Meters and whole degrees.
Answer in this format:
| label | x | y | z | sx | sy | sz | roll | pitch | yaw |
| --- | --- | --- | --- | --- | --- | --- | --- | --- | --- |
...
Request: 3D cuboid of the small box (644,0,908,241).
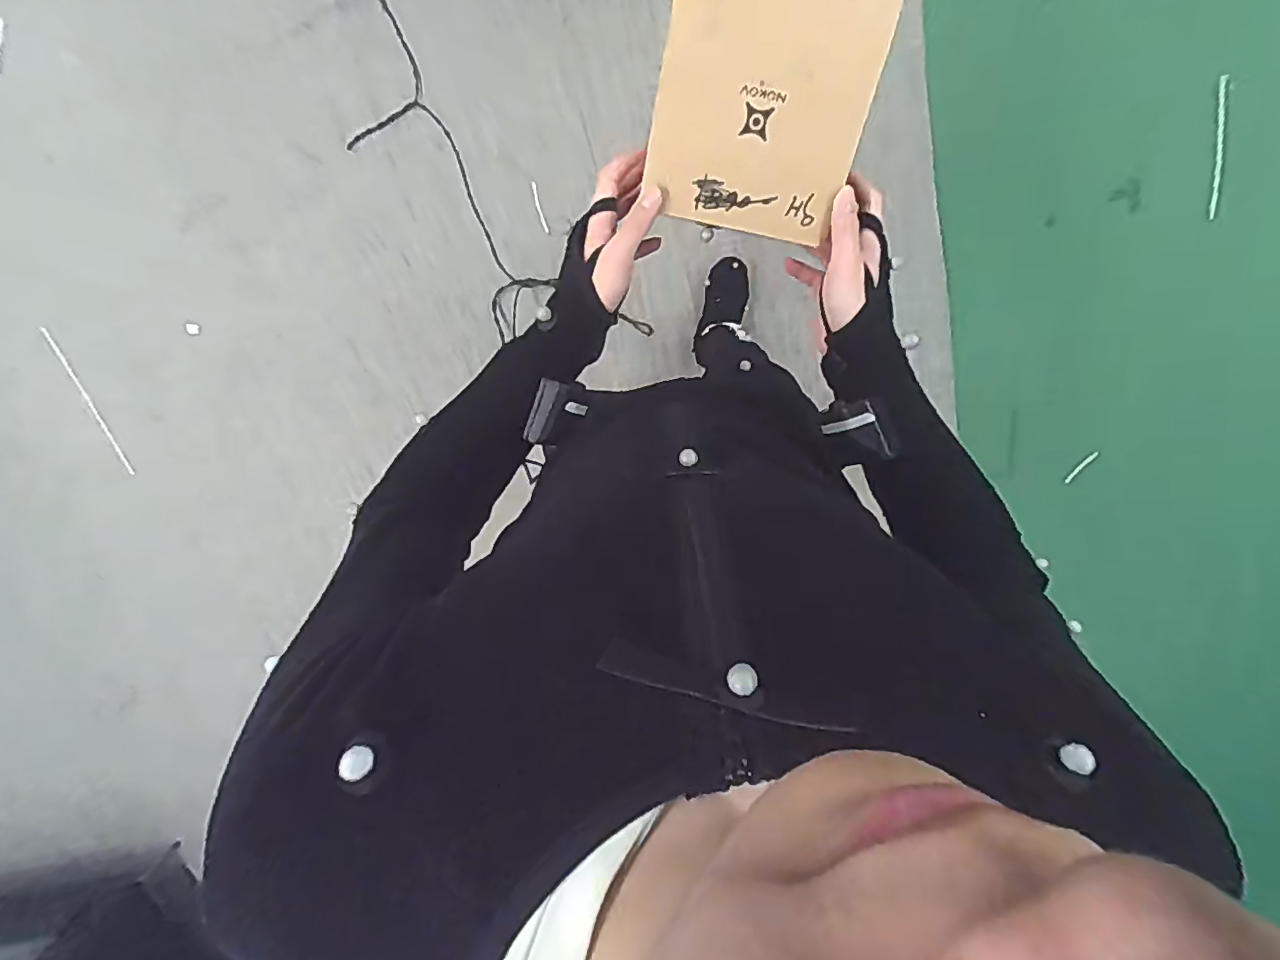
| label | x | y | z | sx | sy | sz | roll | pitch | yaw |
| --- | --- | --- | --- | --- | --- | --- | --- | --- | --- |
| small box | 0.101 | -0.329 | 0.487 | 0.168 | 0.176 | 0.179 | 11 | 117 | -2 |
